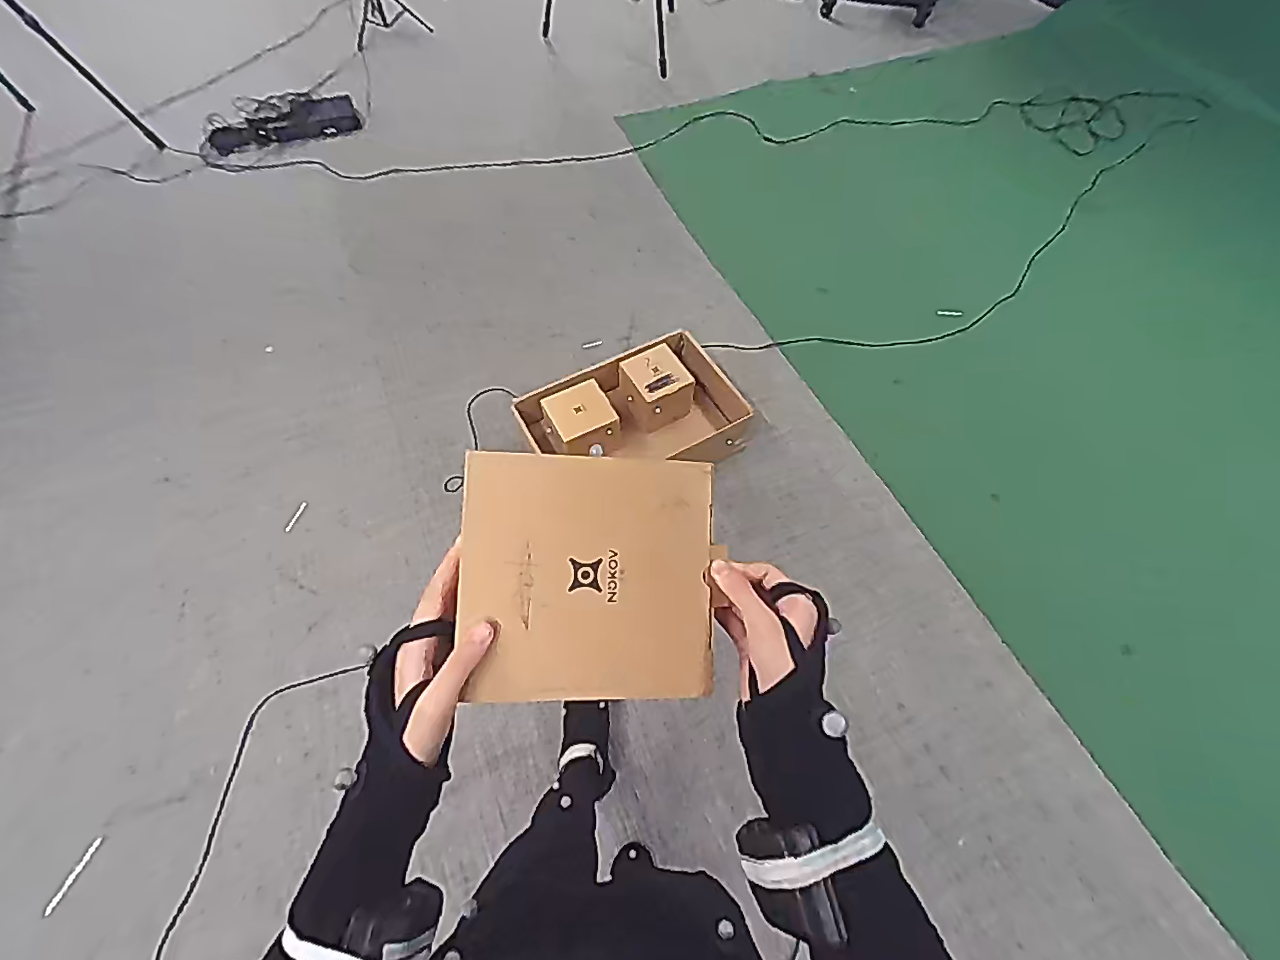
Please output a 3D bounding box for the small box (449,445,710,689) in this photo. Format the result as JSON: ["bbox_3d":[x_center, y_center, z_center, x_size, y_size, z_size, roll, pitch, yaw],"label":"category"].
[{"bbox_3d":[-0.050,0.069,0.455,0.179,0.176,0.168,3,83,-8],"label":"small box"}]

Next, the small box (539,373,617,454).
[{"bbox_3d":[-0.178,-0.180,1.606,0.179,0.176,0.168,-26,66,-15],"label":"small box"}]
